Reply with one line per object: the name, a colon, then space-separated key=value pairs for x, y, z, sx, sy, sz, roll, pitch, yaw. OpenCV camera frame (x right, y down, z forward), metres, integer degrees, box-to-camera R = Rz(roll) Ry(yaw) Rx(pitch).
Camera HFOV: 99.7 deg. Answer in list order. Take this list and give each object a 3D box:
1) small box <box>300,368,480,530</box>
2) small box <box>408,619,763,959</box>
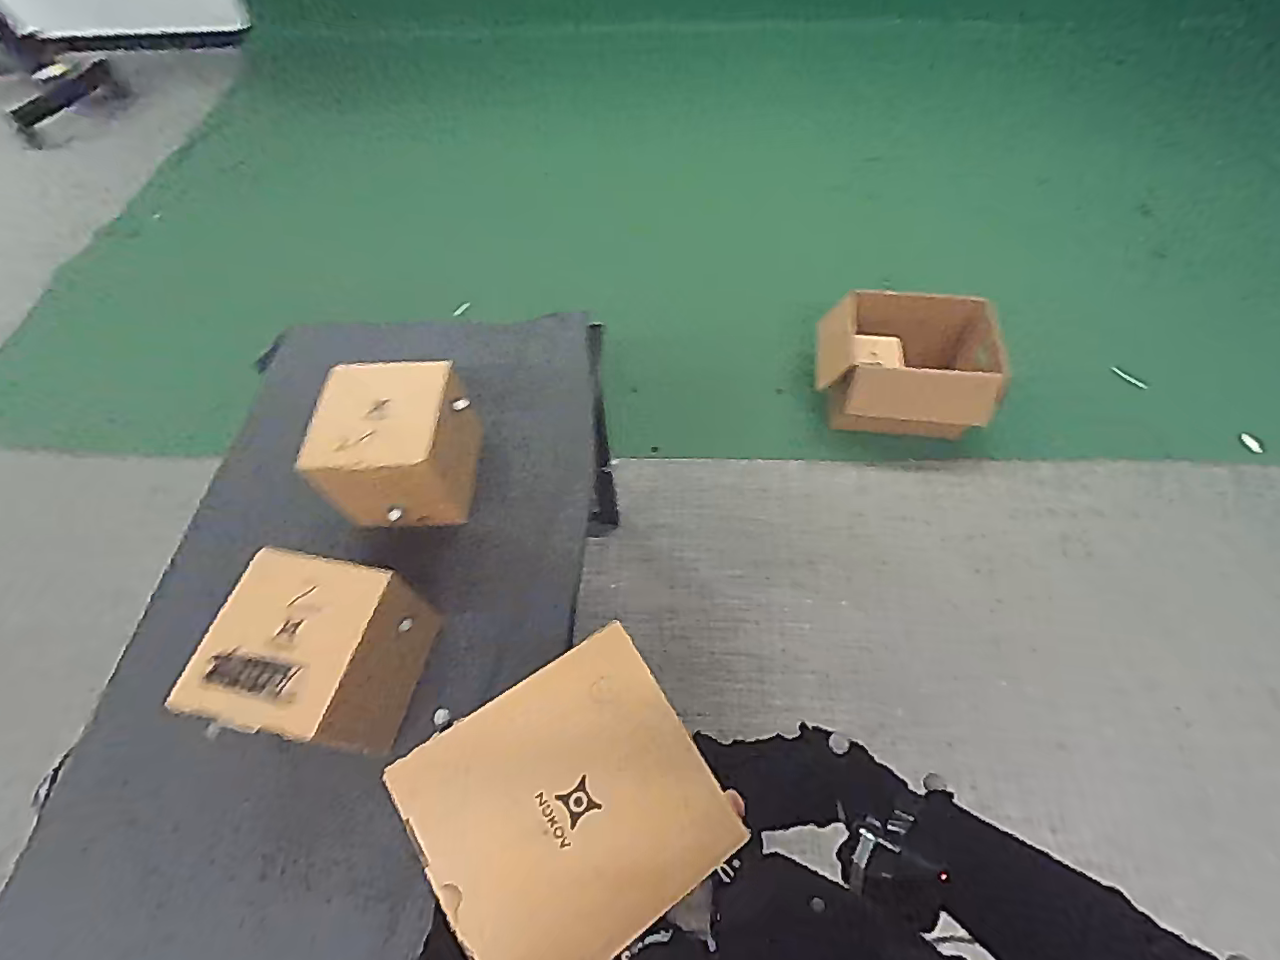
small box: x=-0.344 y=-0.042 z=0.787 sx=0.168 sy=0.176 sz=0.179 roll=-2 pitch=59 yaw=2
small box: x=-0.044 y=0.227 z=0.416 sx=0.179 sy=0.176 sz=0.168 roll=-28 pitch=77 yaw=-17
